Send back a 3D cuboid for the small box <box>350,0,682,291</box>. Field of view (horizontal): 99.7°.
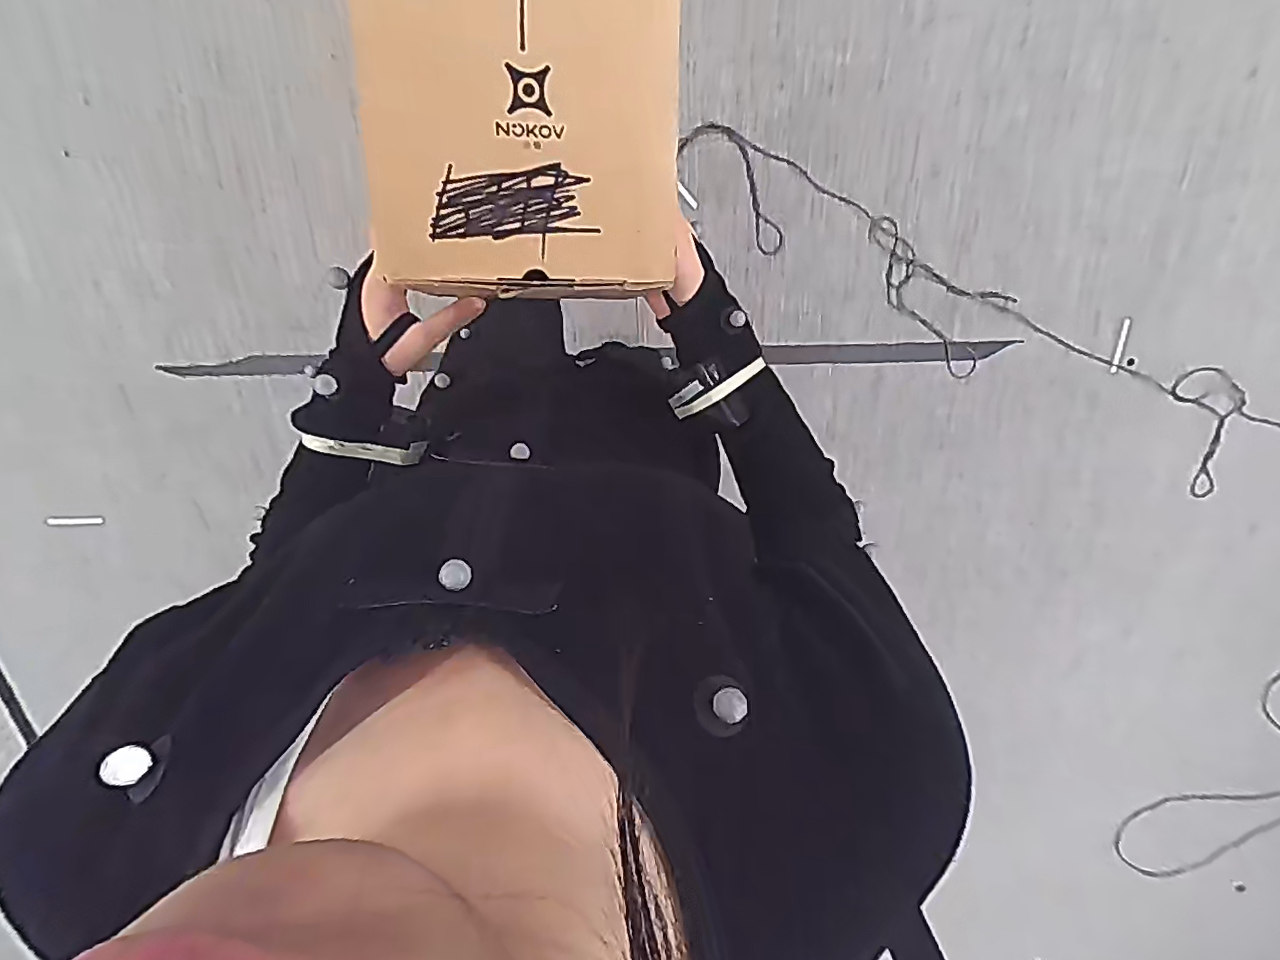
[{"bbox_3d":[-0.073,-0.221,0.355,0.168,0.176,0.179,-3,105,-11],"label":"small box"}]
